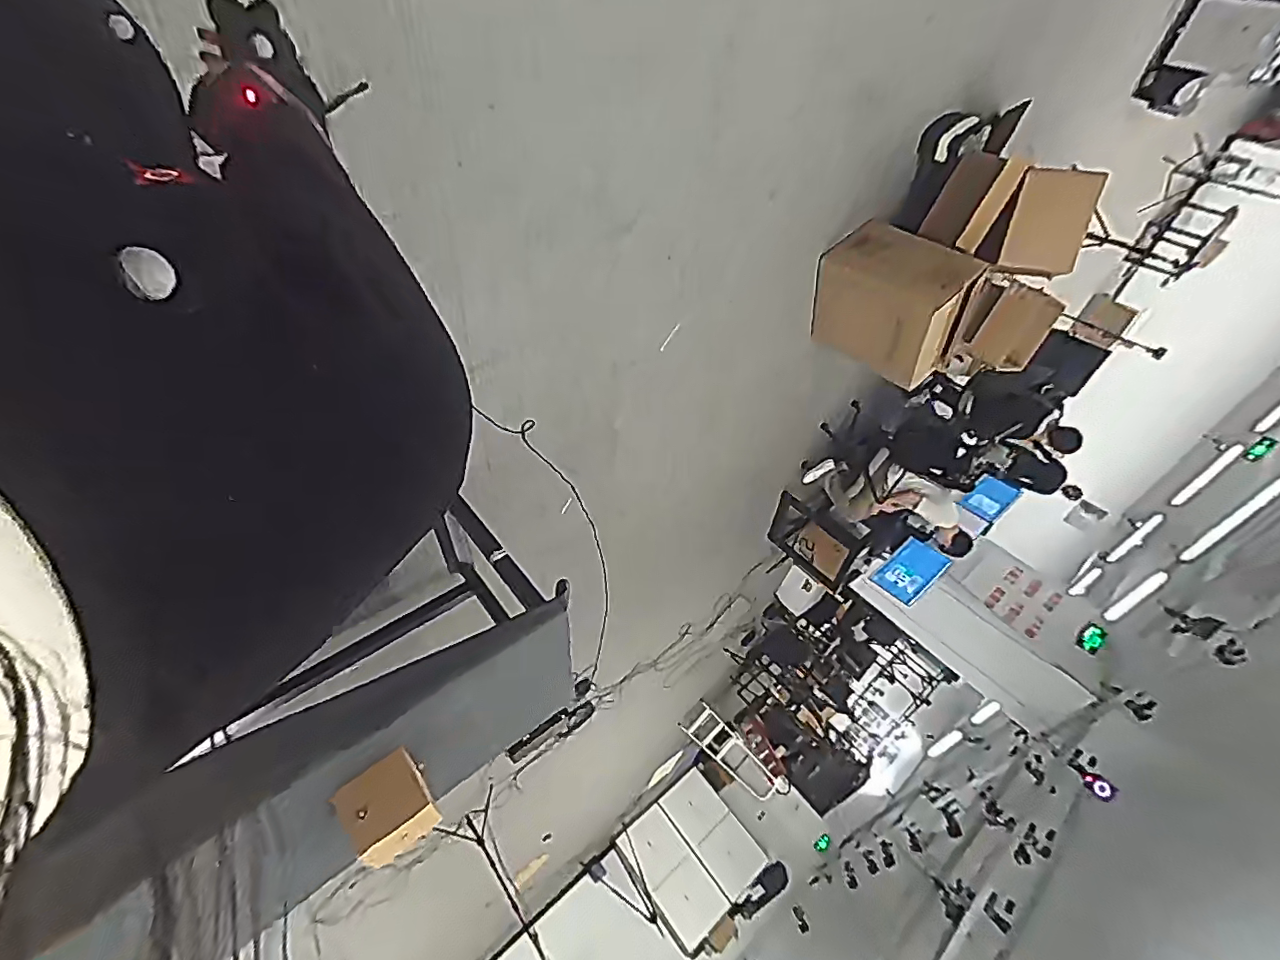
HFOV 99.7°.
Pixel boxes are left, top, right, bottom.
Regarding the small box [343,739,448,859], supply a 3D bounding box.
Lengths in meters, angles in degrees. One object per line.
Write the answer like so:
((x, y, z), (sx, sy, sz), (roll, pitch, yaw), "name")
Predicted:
((-0.611, 0.789, 1.343), (0.179, 0.176, 0.168), (-31, 147, -29), "small box")
